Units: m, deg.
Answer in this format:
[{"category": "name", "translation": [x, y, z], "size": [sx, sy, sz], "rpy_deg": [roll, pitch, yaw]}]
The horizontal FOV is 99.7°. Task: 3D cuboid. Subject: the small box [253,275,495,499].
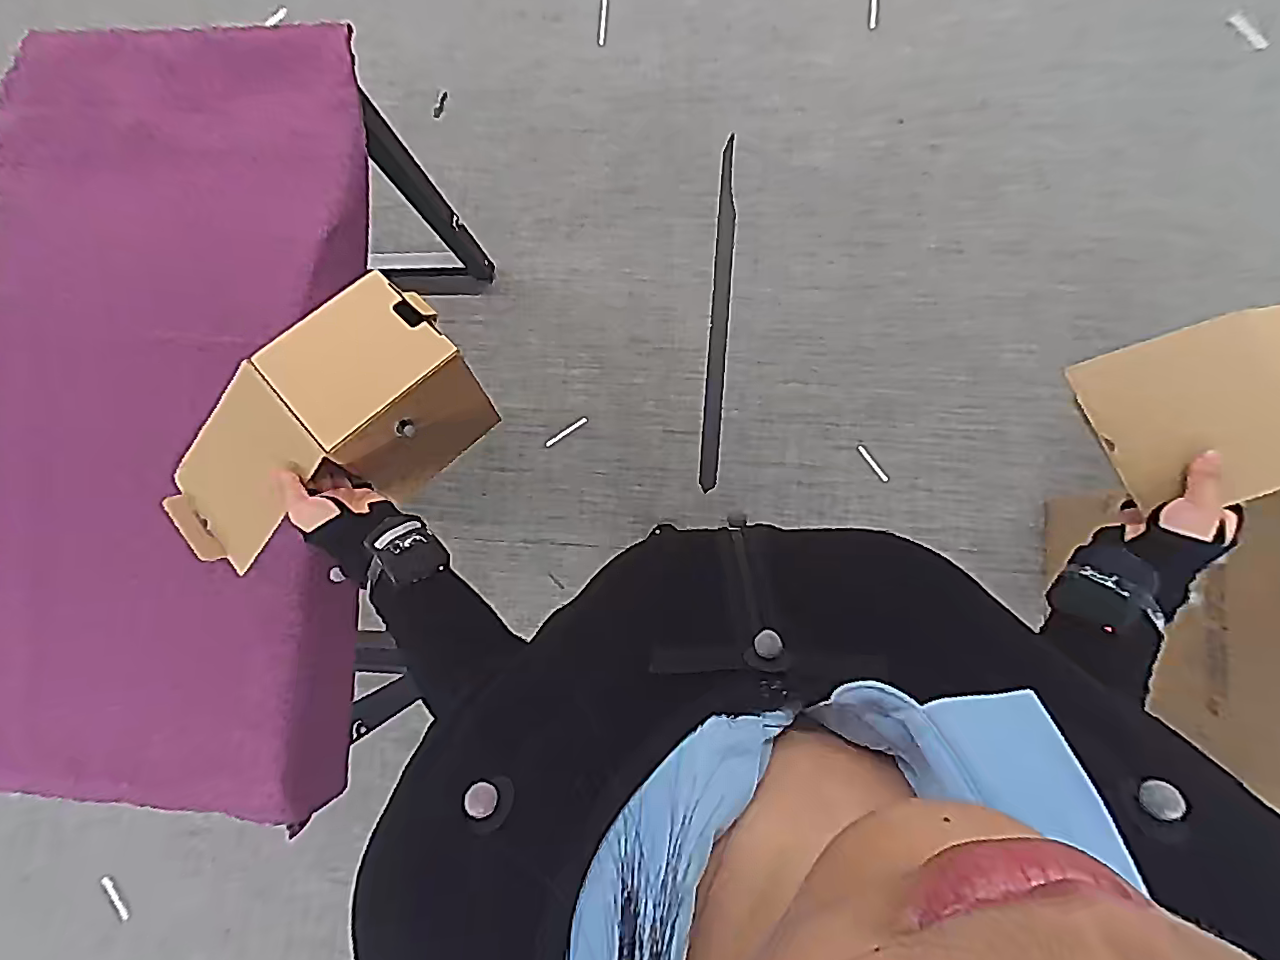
[{"category": "small box", "translation": [-0.311, -0.104, 0.669], "size": [0.179, 0.176, 0.168], "rpy_deg": [-43, 73, -13]}]
